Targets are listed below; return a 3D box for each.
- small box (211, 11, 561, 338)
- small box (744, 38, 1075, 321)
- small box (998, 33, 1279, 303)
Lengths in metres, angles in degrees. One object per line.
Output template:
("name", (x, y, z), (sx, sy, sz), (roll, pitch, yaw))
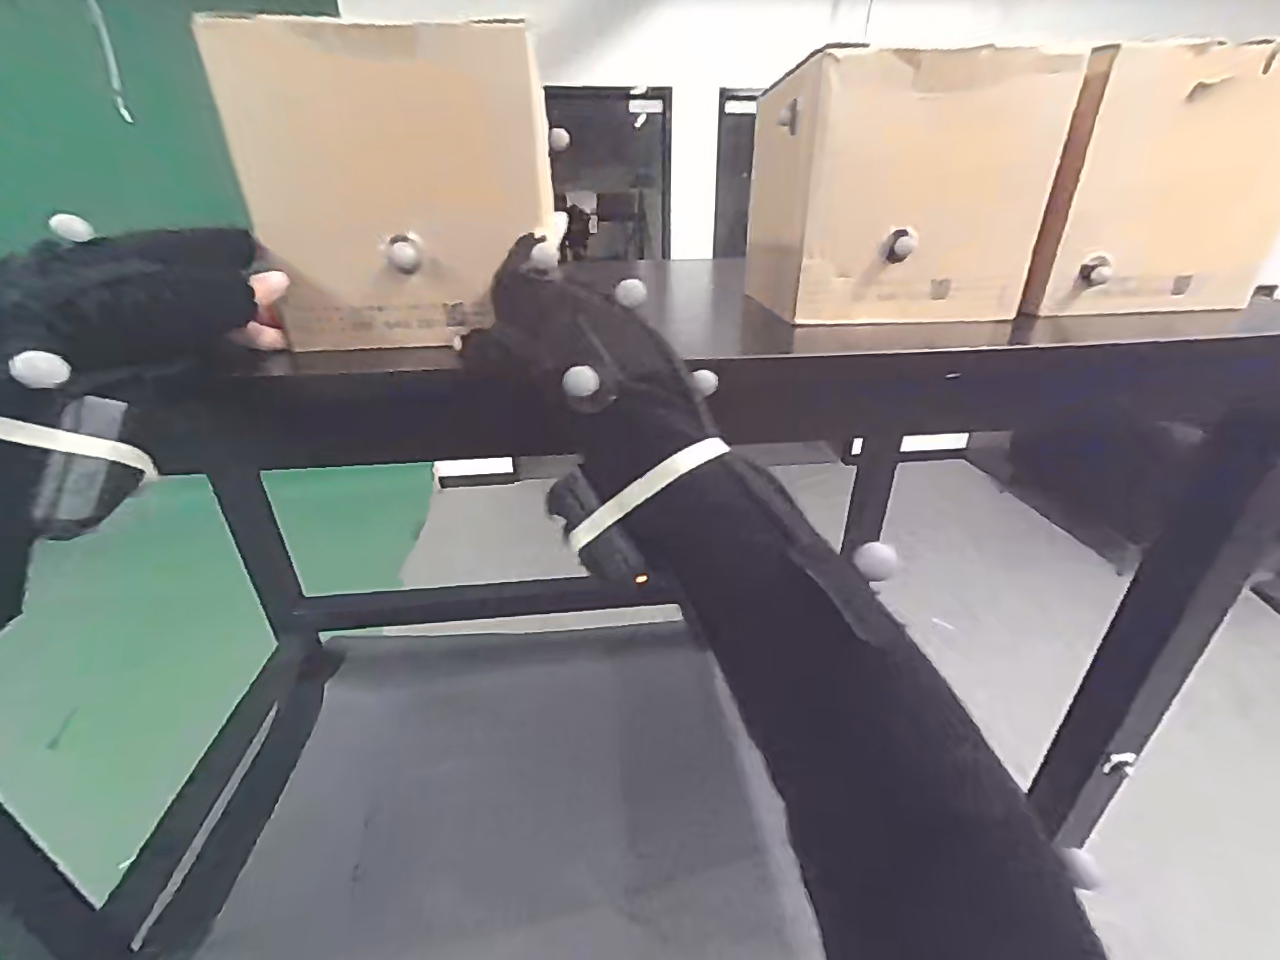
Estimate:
("small box", (-0.148, -0.203, 0.392), (0.168, 0.176, 0.179), (-4, 27, -5))
("small box", (0.186, -0.232, 0.442), (0.168, 0.176, 0.179), (-1, 27, -1))
("small box", (0.368, -0.244, 0.452), (0.168, 0.176, 0.179), (-3, 26, -2))
